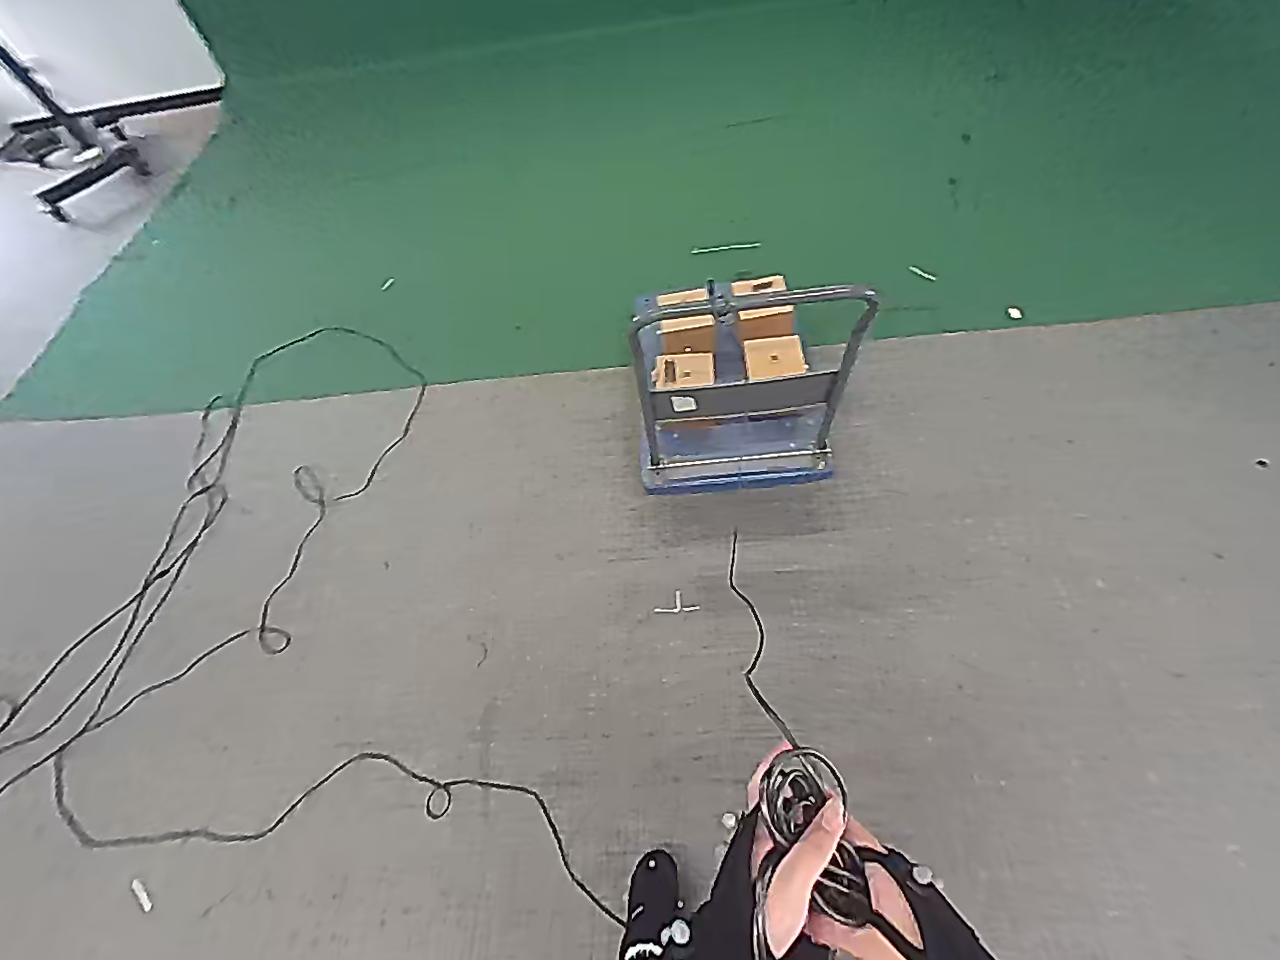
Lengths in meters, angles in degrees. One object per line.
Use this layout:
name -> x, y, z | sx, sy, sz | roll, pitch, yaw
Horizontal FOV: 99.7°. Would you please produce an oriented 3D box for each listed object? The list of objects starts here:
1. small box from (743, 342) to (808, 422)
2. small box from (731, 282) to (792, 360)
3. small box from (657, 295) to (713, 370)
small box -> 0.412, -0.301, 1.674 | 0.168, 0.176, 0.179 | -5, 59, 6
small box -> 0.402, -0.531, 1.816 | 0.168, 0.176, 0.179 | -9, 59, 4
small box -> 0.154, -0.490, 1.831 | 0.168, 0.176, 0.179 | -8, 58, 3
